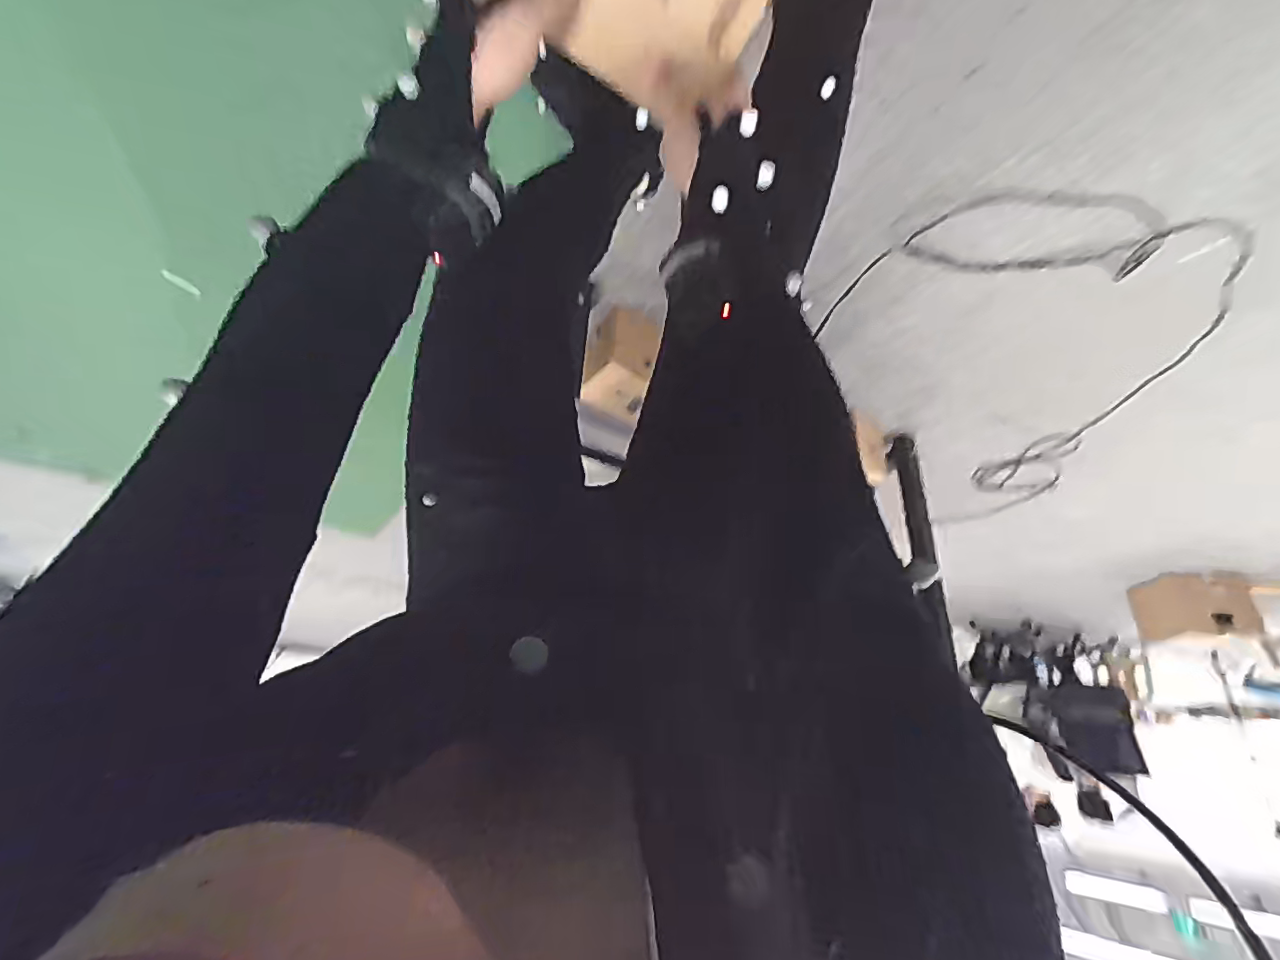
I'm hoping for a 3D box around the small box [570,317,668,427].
[{"bbox_3d":[-0.045,-0.258,1.296,0.179,0.176,0.168,21,148,-32],"label":"small box"}]

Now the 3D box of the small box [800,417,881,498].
[{"bbox_3d":[0.602,-0.067,1.629,0.179,0.176,0.168,24,147,-39],"label":"small box"}]
